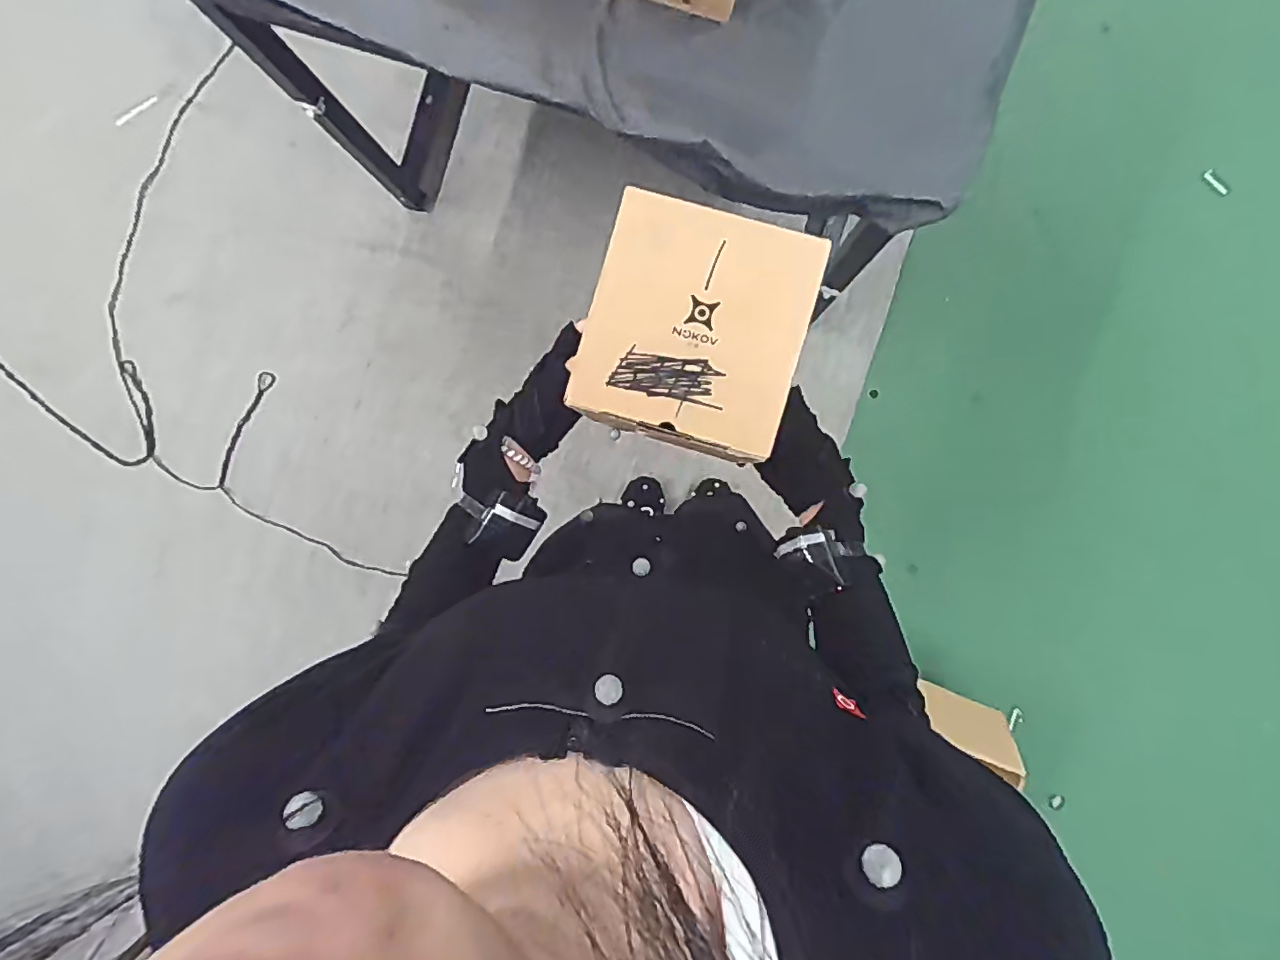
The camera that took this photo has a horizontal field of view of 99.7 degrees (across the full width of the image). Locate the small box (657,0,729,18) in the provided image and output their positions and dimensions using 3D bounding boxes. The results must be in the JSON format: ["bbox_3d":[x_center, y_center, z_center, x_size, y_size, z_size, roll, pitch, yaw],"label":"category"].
[{"bbox_3d":[0.062,-0.737,0.662,0.168,0.176,0.179,19,92,3],"label":"small box"}]

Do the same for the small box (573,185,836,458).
[{"bbox_3d":[0.052,-0.124,0.496,0.168,0.176,0.179,16,92,1],"label":"small box"}]
